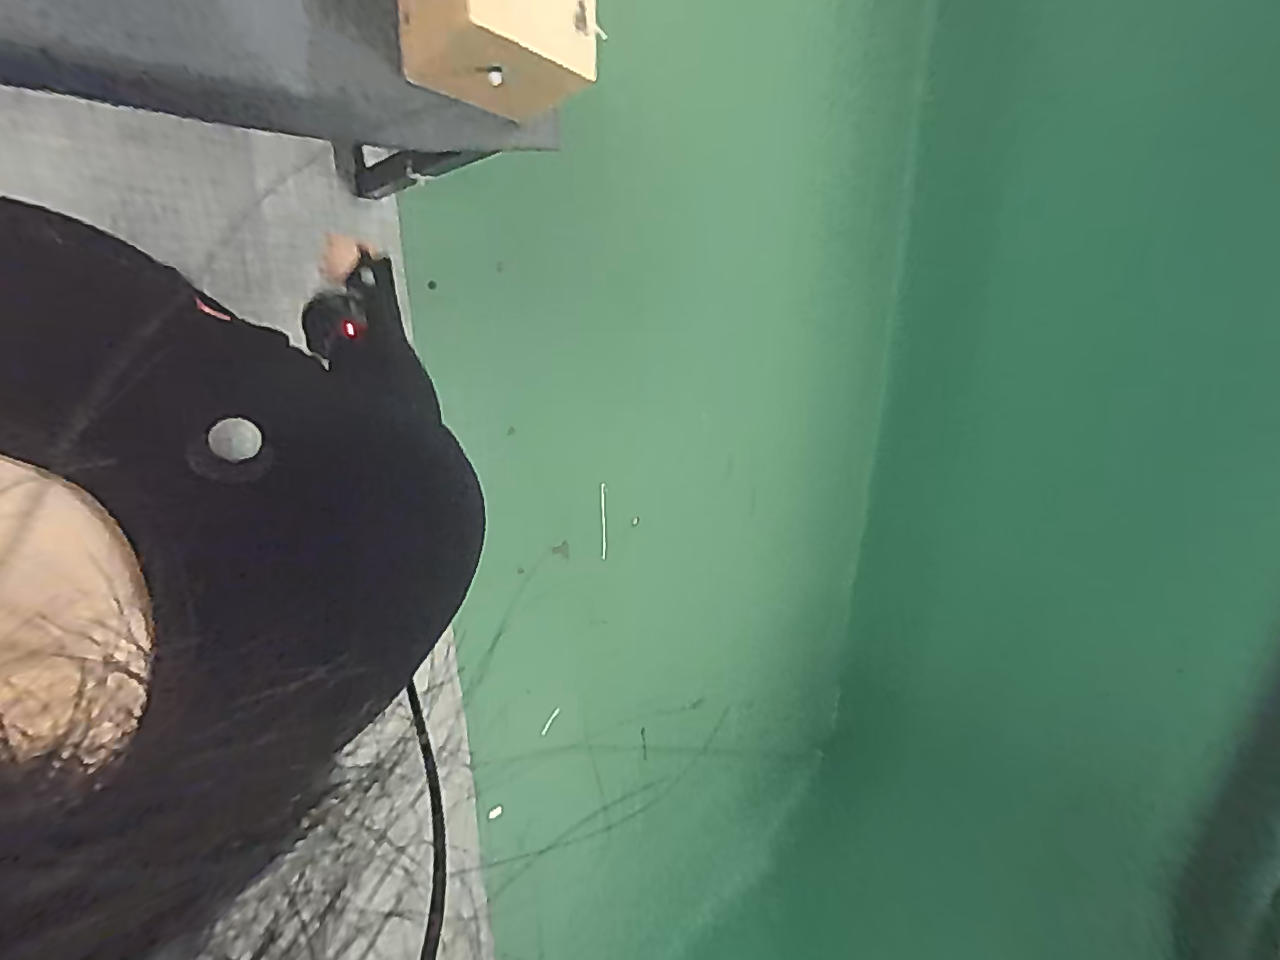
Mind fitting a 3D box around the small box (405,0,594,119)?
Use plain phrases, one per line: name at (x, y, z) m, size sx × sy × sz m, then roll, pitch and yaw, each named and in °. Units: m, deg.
small box at (-0.175, -0.574, 0.656) m, size 0.179 × 0.176 × 0.168 m, roll -10°, pitch 106°, yaw -43°
